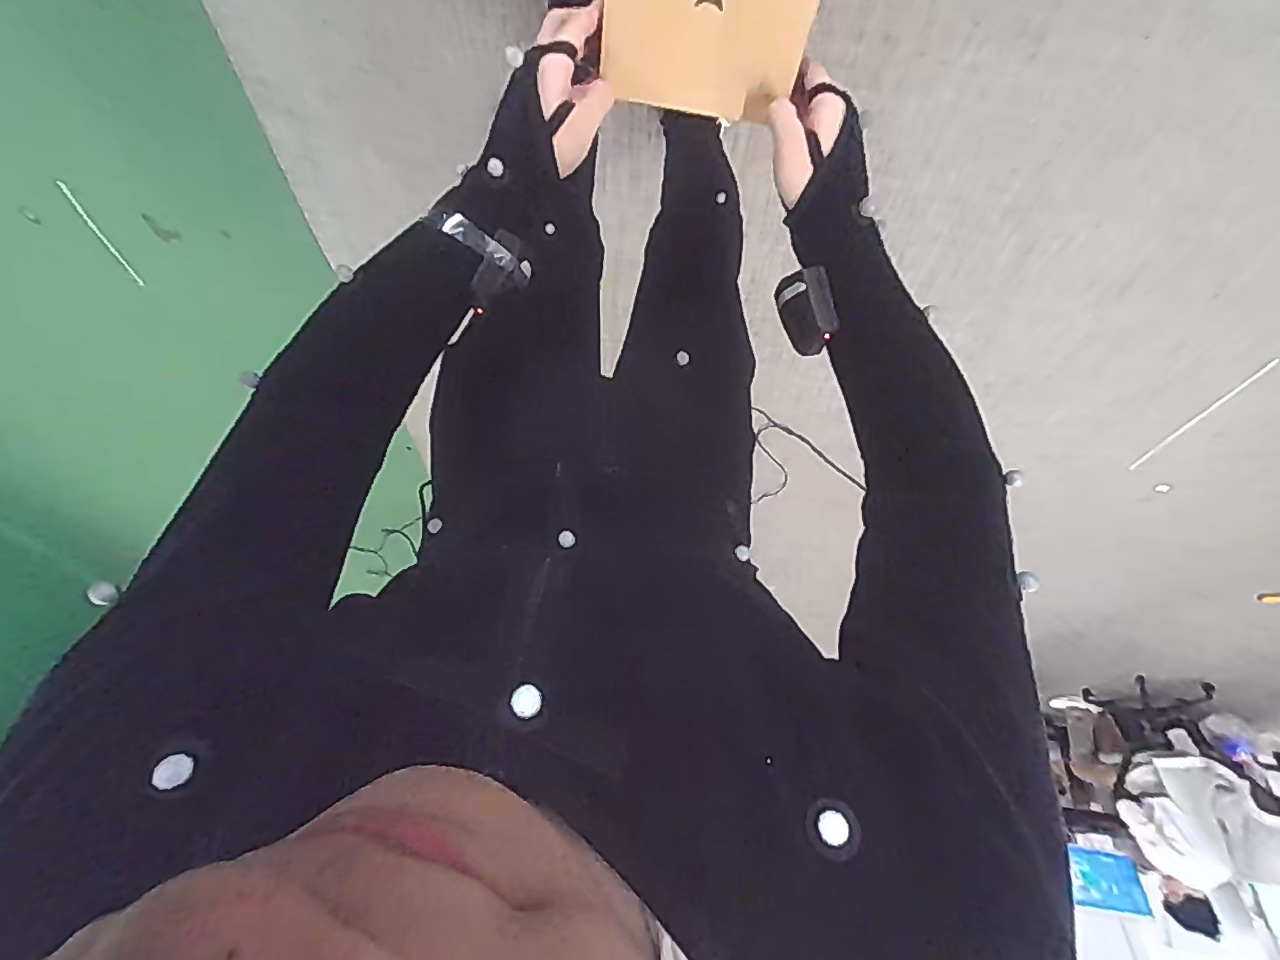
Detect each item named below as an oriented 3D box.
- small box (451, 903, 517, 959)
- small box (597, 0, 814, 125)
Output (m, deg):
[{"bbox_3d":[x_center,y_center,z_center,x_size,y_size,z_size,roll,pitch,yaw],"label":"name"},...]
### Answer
[{"bbox_3d":[-0.513,1.521,1.792,0.168,0.176,0.179,8,147,-1],"label":"small box"},{"bbox_3d":[0.061,-0.442,0.457,0.168,0.176,0.179,8,142,-4],"label":"small box"}]
